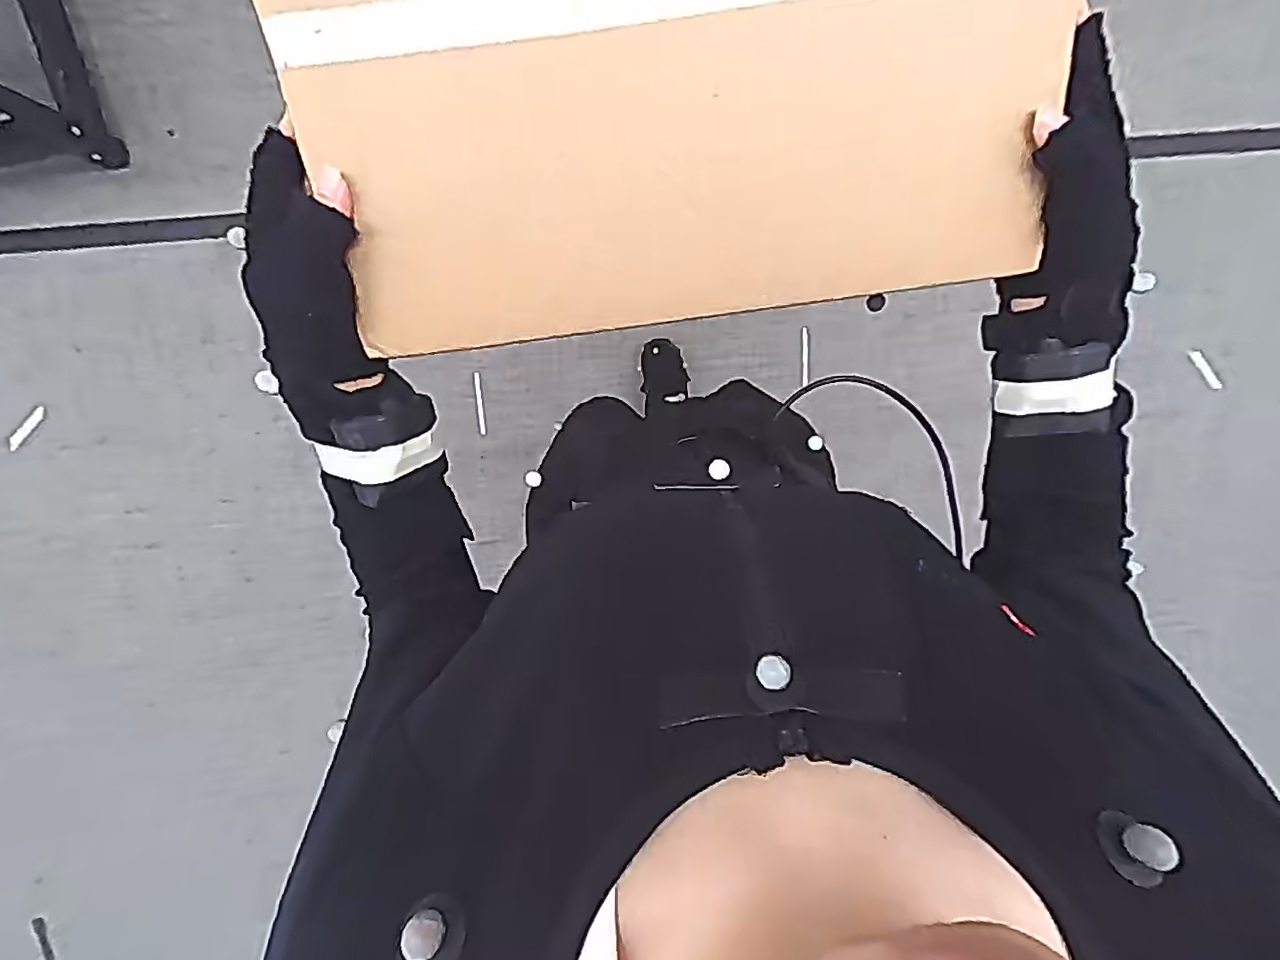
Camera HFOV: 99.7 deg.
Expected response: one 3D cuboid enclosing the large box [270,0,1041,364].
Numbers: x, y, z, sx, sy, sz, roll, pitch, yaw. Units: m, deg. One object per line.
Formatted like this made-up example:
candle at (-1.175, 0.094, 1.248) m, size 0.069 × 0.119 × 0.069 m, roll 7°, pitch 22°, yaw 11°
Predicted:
large box at (0.009, -0.297, 0.417) m, size 0.408 × 0.320 × 0.320 m, roll -8°, pitch 111°, yaw 0°
